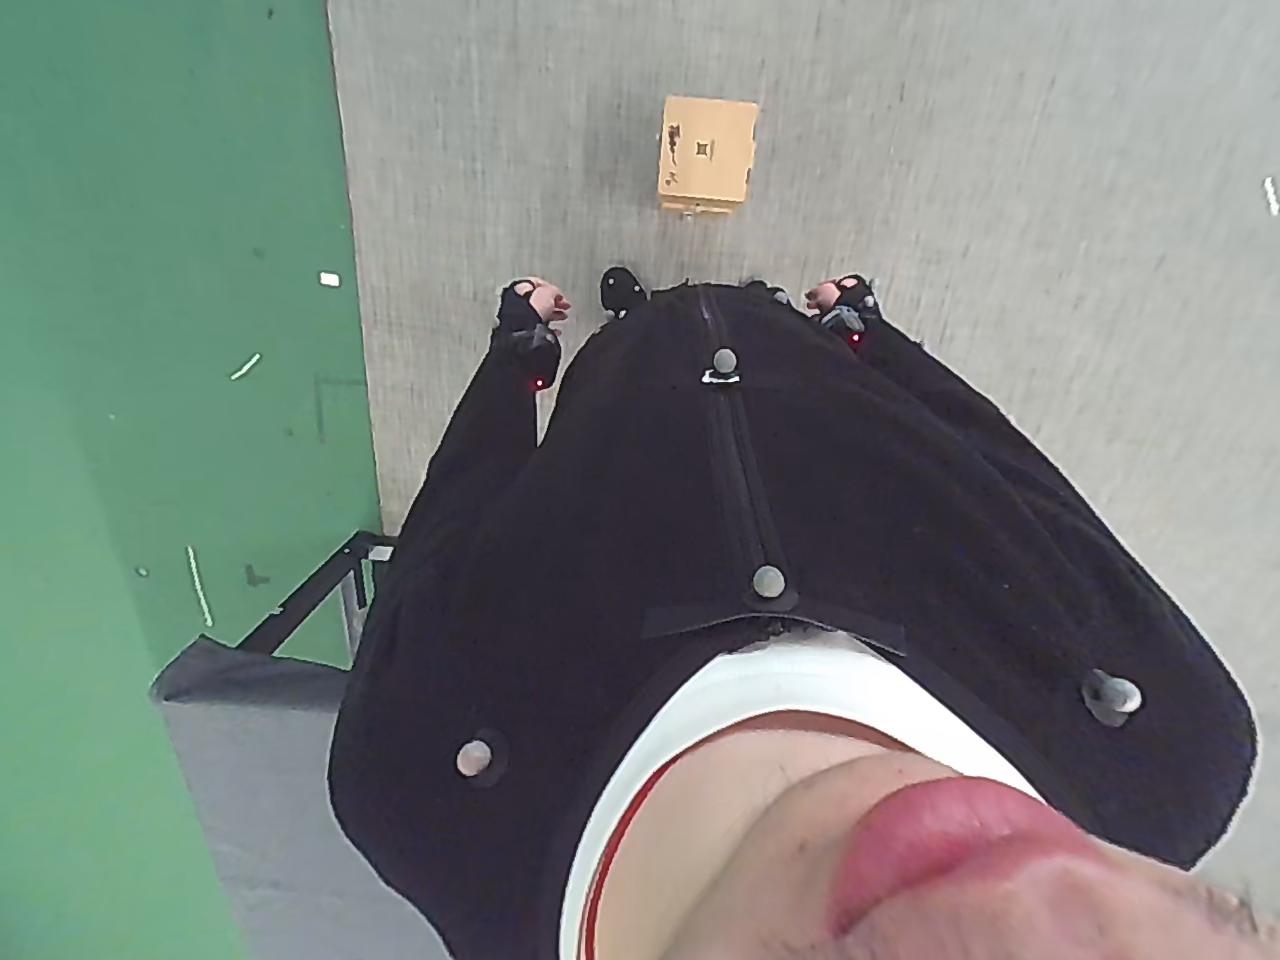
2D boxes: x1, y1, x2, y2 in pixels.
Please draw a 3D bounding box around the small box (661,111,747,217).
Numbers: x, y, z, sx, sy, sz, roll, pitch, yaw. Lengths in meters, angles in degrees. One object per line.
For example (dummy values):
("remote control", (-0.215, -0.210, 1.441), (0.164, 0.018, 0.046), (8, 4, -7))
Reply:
("small box", (0.139, -0.715, 1.242), (0.168, 0.176, 0.179), (7, 113, 0))
